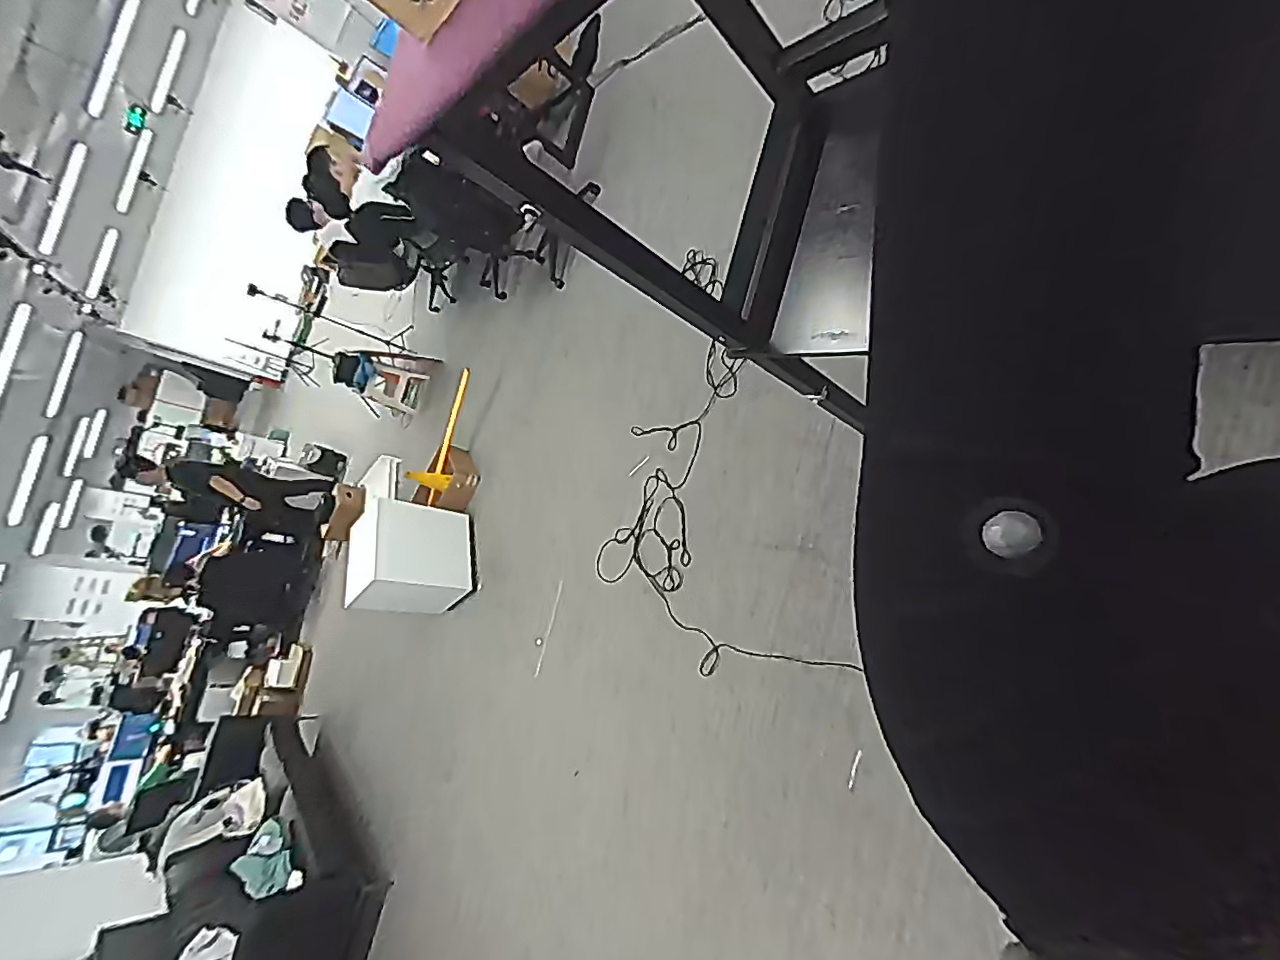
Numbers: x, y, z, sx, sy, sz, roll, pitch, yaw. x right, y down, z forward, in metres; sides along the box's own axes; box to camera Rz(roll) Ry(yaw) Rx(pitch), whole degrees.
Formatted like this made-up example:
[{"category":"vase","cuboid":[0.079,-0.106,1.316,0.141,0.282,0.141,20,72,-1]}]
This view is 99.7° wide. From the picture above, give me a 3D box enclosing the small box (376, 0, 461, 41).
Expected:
[{"category":"small box","cuboid":[-0.211,-0.551,0.467,0.168,0.176,0.179,7,83,50]}]
